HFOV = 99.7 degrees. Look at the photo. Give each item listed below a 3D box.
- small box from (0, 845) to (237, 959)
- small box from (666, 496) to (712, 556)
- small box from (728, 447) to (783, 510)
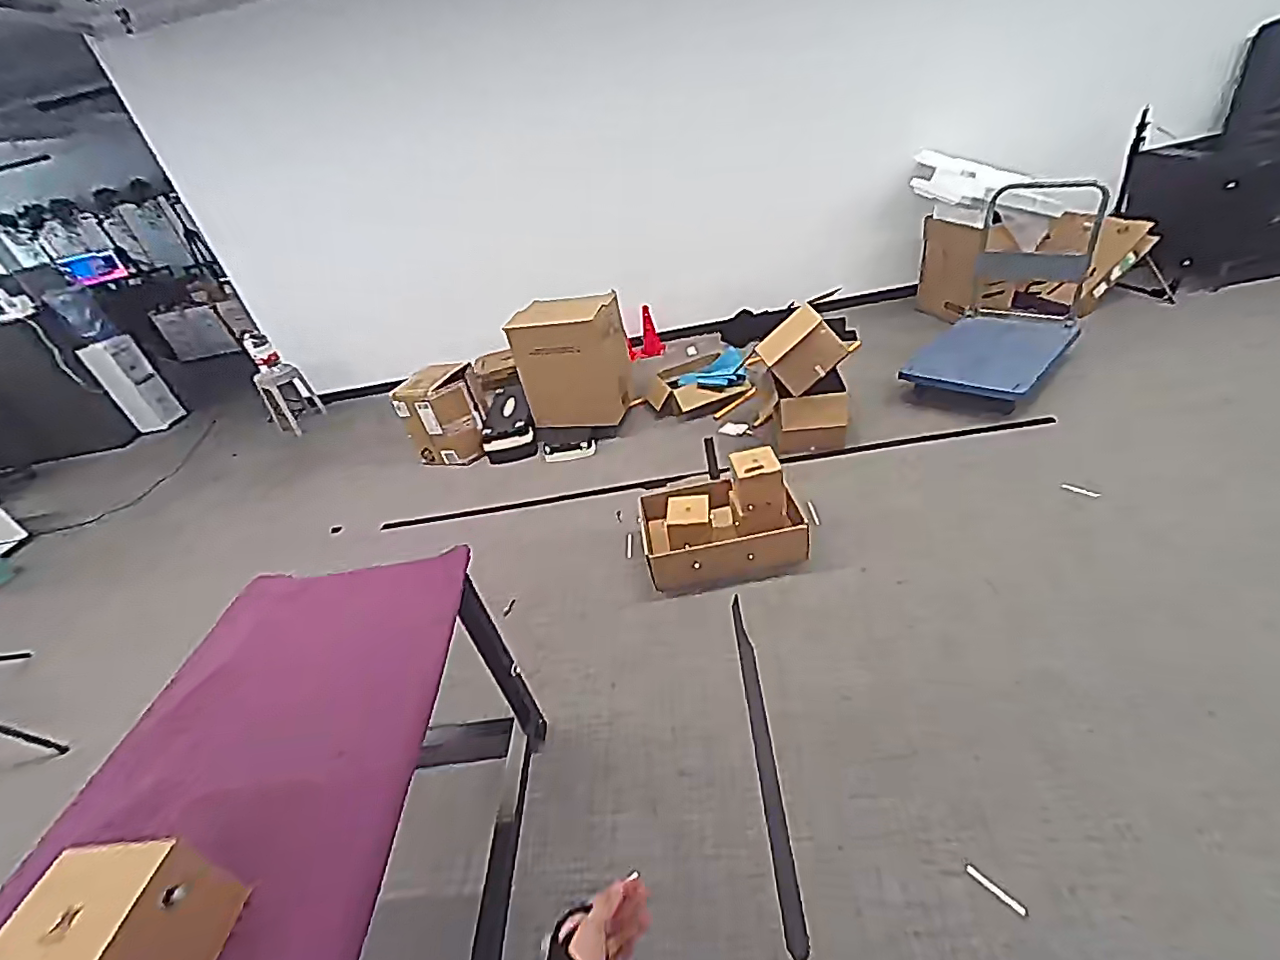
[{"bbox_3d":[-0.652,0.588,0.668,0.168,0.176,0.179,-9,34,7],"label":"small box"},{"bbox_3d":[0.201,0.186,2.182,0.168,0.176,0.179,-5,34,10],"label":"small box"},{"bbox_3d":[0.444,0.000,2.072,0.168,0.176,0.179,-12,33,2],"label":"small box"}]
